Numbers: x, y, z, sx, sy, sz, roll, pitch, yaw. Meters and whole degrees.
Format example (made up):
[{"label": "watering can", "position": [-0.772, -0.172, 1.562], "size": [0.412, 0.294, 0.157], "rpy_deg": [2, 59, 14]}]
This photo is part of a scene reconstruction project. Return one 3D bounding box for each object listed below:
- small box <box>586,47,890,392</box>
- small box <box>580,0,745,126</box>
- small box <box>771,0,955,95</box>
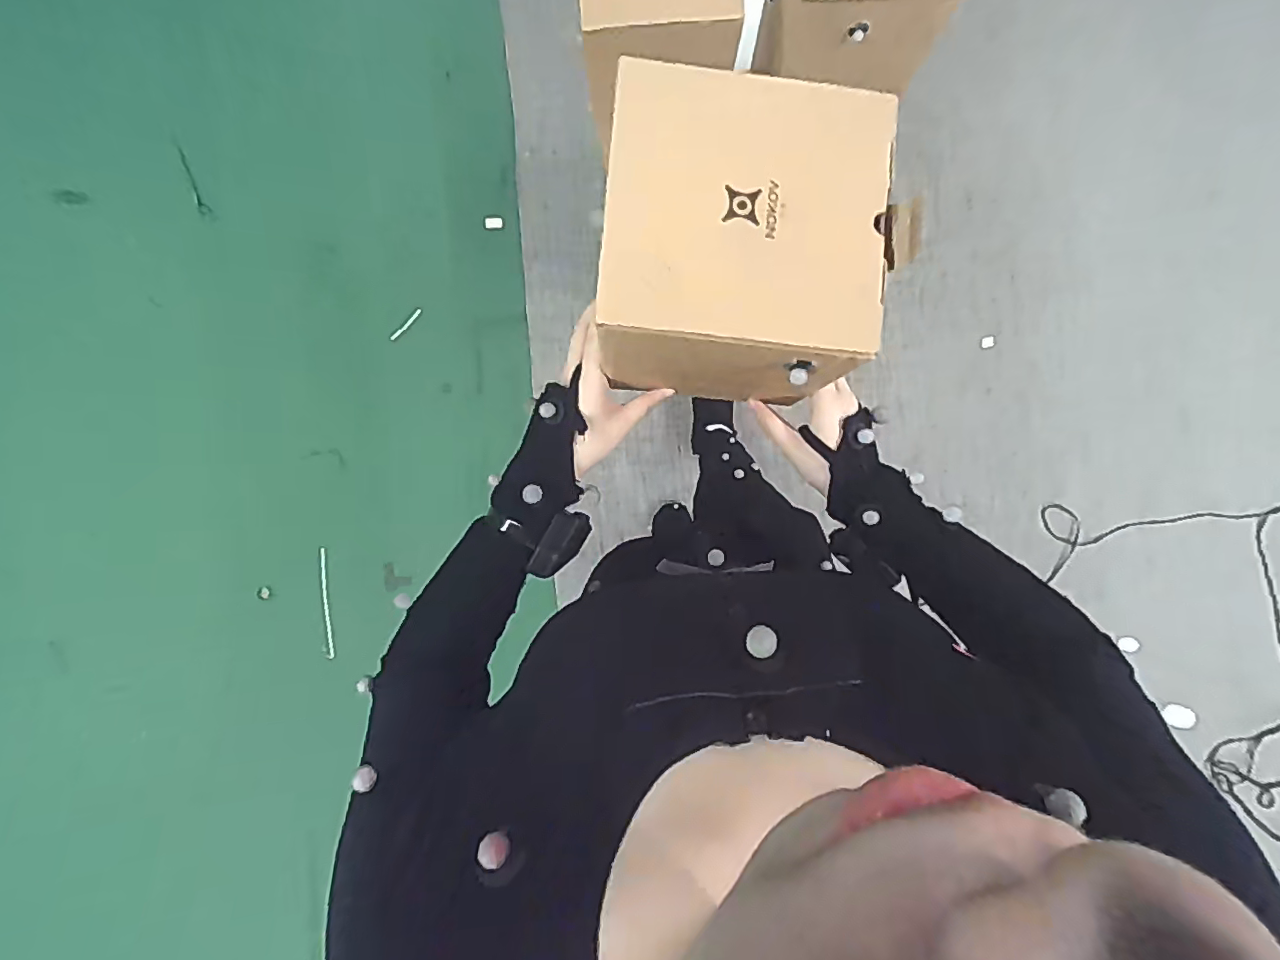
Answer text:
[{"label": "small box", "position": [0.057, -0.167, 0.403], "size": [0.179, 0.176, 0.168], "rpy_deg": [5, 87, -4]}, {"label": "small box", "position": [0.021, -0.559, 0.648], "size": [0.179, 0.176, 0.168], "rpy_deg": [-4, 90, 2]}, {"label": "small box", "position": [0.254, -0.583, 0.641], "size": [0.179, 0.176, 0.168], "rpy_deg": [-1, 91, 2]}]
